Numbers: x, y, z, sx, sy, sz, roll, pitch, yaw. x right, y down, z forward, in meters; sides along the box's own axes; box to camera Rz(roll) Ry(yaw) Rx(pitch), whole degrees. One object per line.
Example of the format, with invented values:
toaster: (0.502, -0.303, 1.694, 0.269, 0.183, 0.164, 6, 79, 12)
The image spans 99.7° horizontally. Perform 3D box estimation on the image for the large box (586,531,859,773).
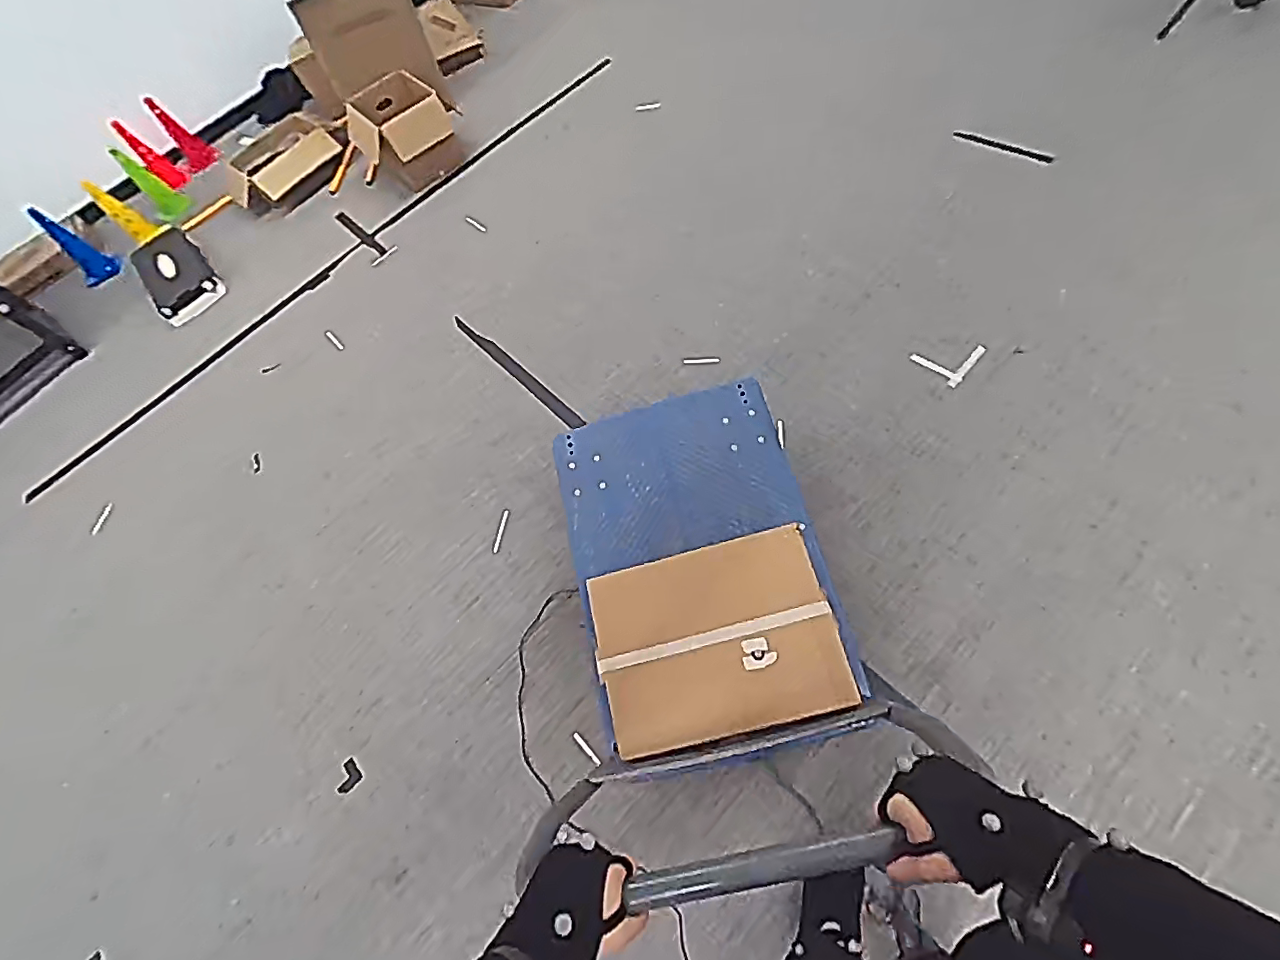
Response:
large box: (0.148, 0.339, 1.058, 0.408, 0.320, 0.320, -16, 67, 4)
